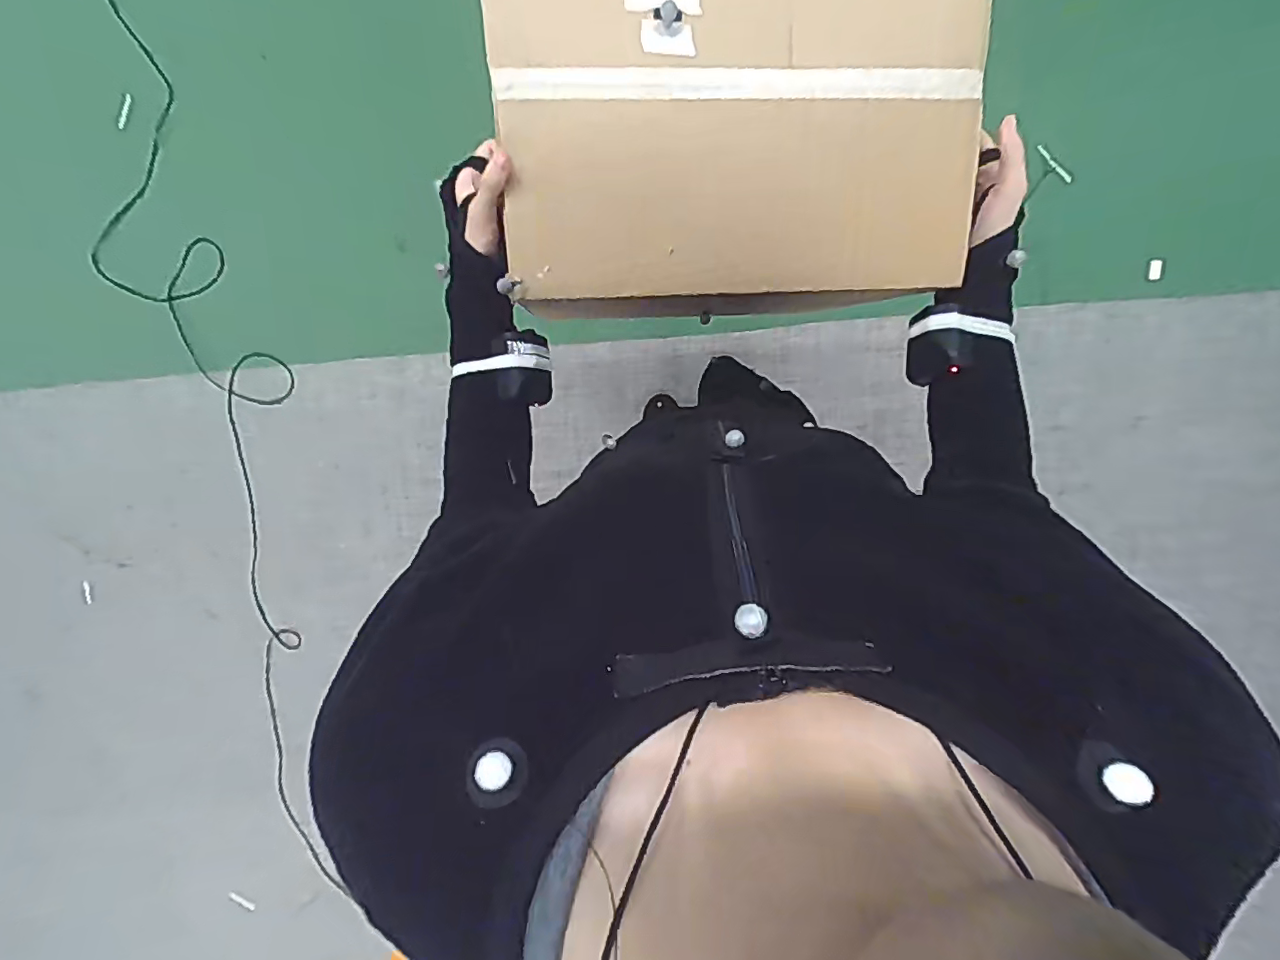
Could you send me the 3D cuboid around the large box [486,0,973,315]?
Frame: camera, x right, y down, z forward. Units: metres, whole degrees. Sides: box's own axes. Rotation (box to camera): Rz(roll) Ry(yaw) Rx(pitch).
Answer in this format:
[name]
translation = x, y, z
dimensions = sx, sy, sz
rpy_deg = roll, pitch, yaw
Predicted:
[large box]
translation = 0.070, -0.356, 0.594
dimensions = 0.408, 0.320, 0.320
rpy_deg = -4, 103, -4
